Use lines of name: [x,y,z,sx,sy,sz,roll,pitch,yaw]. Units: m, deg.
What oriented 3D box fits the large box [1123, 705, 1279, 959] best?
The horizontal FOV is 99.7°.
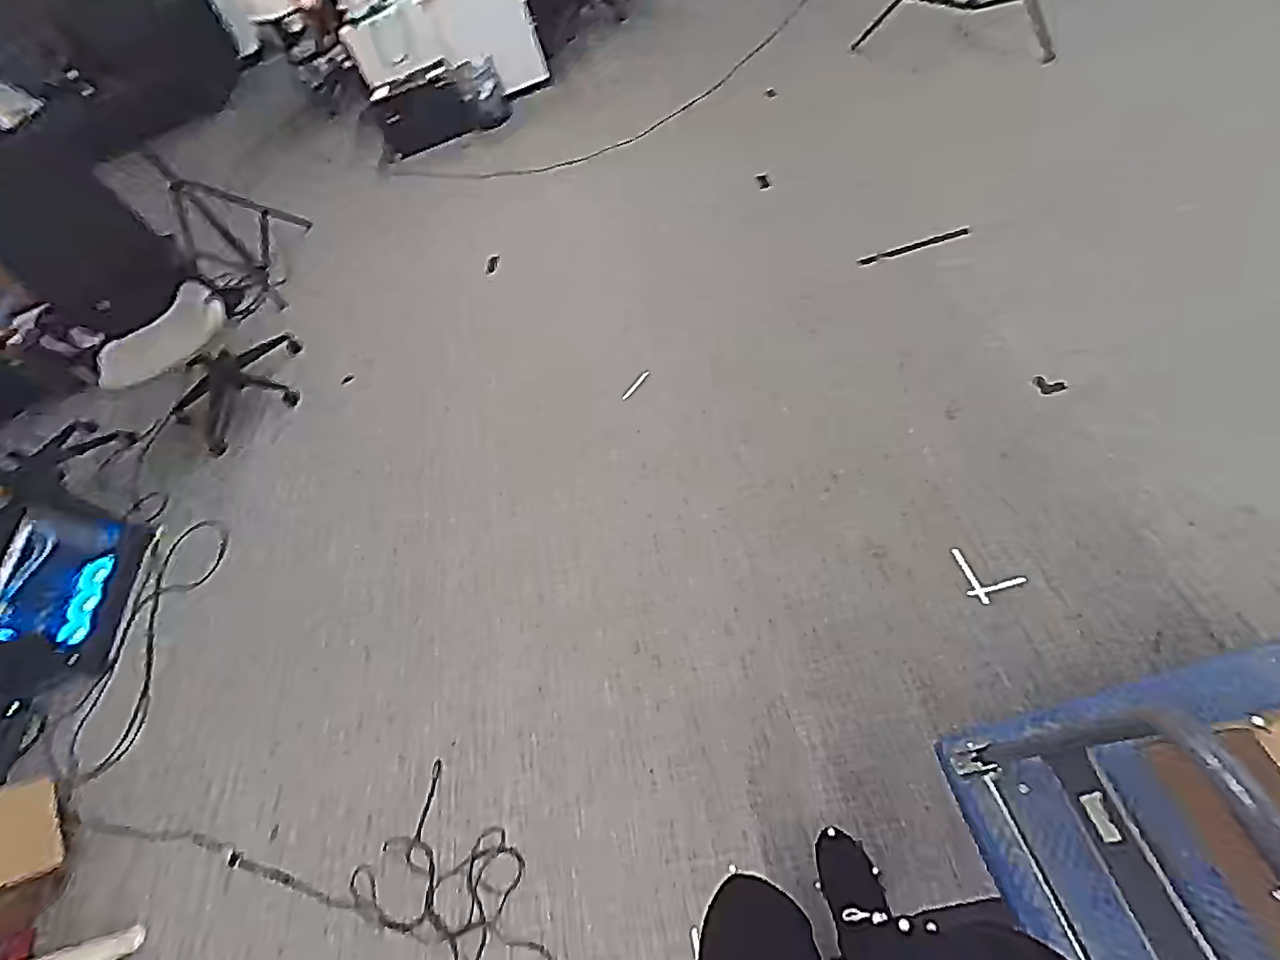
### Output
large box: [1.044,0.540,0.765,0.320,0.320,0.408,-18,55,4]
